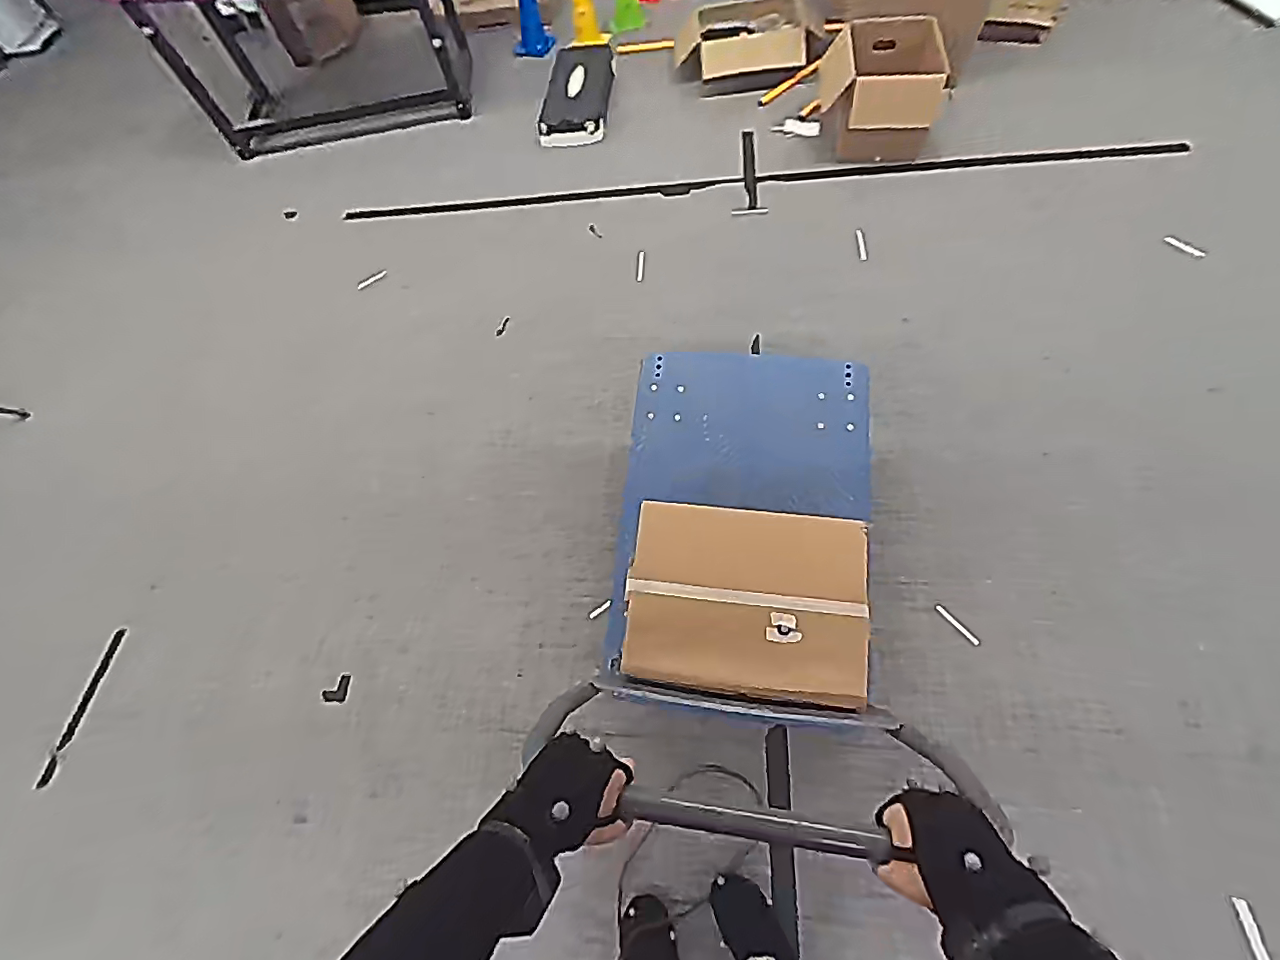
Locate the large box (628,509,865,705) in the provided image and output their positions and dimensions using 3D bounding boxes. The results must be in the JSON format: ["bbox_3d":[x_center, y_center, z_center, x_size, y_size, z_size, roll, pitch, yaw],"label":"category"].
[{"bbox_3d":[0.203,0.258,1.097,0.408,0.320,0.320,5,74,8],"label":"large box"}]
